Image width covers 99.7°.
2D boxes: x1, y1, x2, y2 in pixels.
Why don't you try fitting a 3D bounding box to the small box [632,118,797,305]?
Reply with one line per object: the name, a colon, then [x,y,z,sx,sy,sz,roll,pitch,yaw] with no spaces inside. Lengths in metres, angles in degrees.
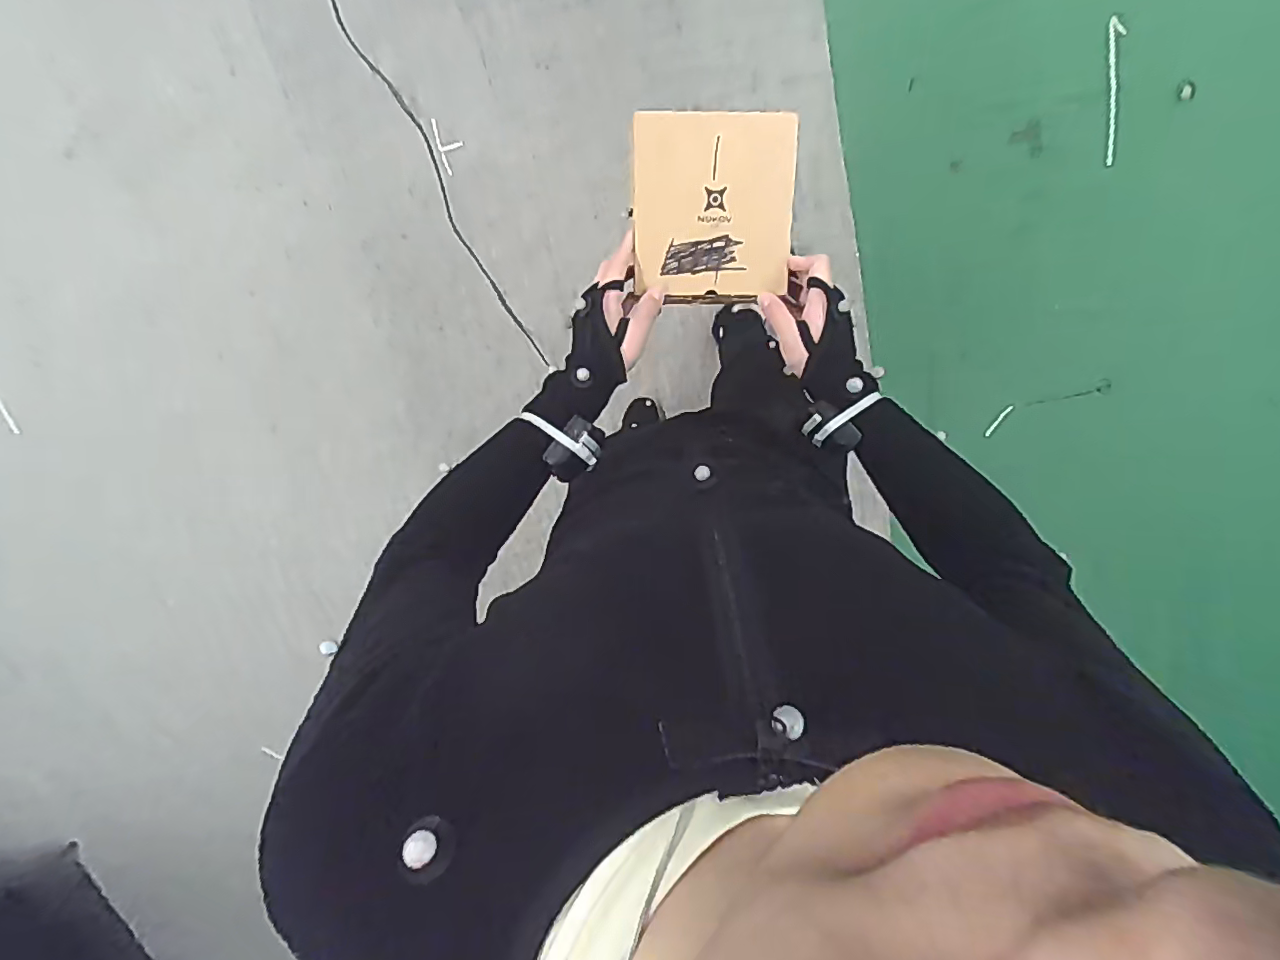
small box: [0.077,-0.306,0.651,0.168,0.176,0.179,-1,105,-3]
